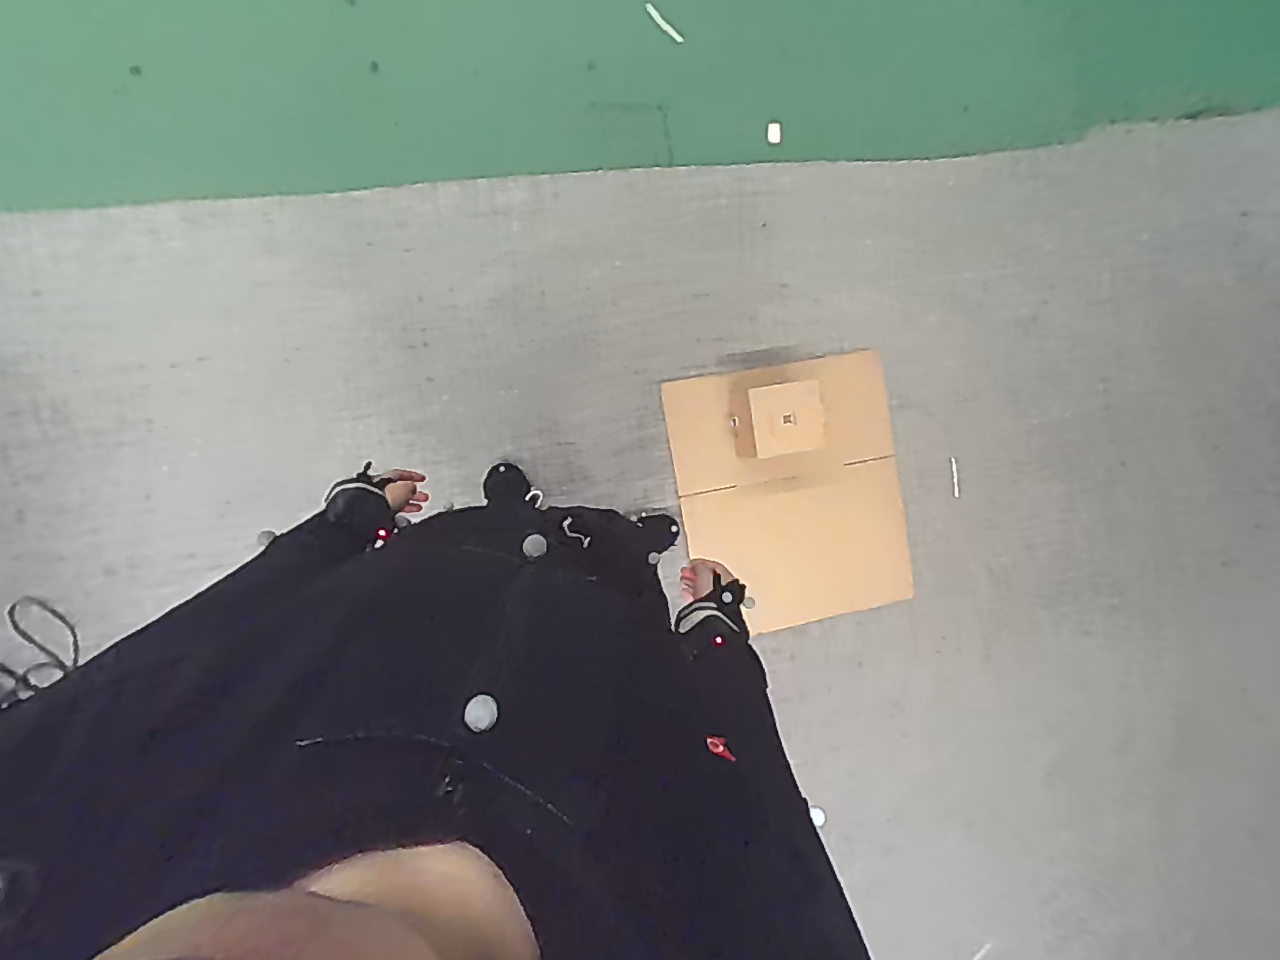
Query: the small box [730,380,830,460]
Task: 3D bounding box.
[{"bbox_3d":[0.337,-0.145,1.322,0.179,0.176,0.168,-10,94,-6],"label":"small box"}]
